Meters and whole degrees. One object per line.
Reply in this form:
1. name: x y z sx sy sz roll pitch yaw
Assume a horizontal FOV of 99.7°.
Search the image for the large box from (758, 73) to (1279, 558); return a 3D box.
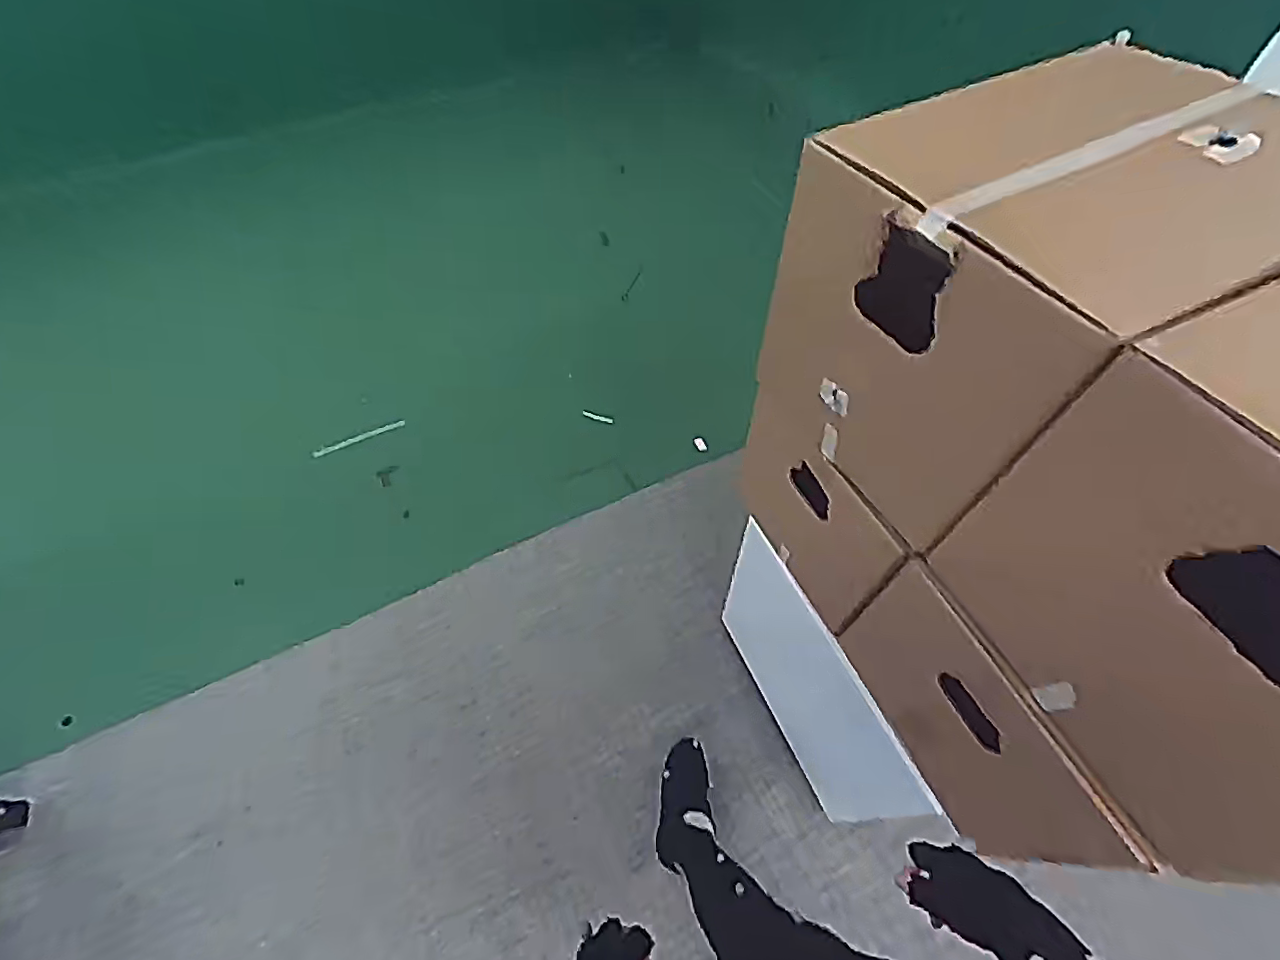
1. large box: 0.396 -0.181 0.593 0.408 0.320 0.320 -24 58 -15
